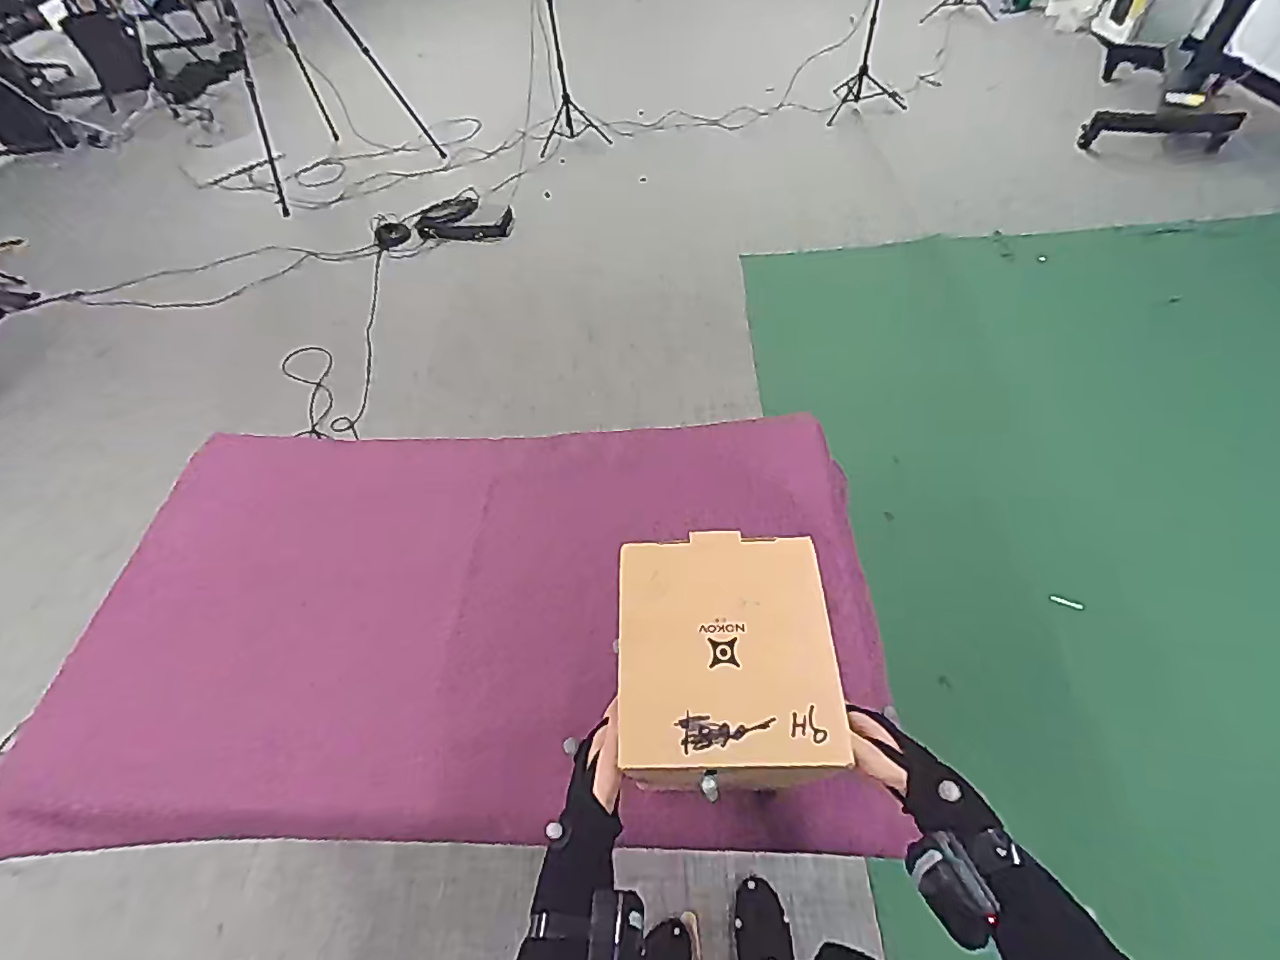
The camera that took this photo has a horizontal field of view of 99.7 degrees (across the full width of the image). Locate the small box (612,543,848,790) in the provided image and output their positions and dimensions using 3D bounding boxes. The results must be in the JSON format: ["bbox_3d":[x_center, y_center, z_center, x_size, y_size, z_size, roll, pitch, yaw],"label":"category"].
[{"bbox_3d":[0.070,0.173,0.486,0.168,0.176,0.179,-4,58,6],"label":"small box"}]
